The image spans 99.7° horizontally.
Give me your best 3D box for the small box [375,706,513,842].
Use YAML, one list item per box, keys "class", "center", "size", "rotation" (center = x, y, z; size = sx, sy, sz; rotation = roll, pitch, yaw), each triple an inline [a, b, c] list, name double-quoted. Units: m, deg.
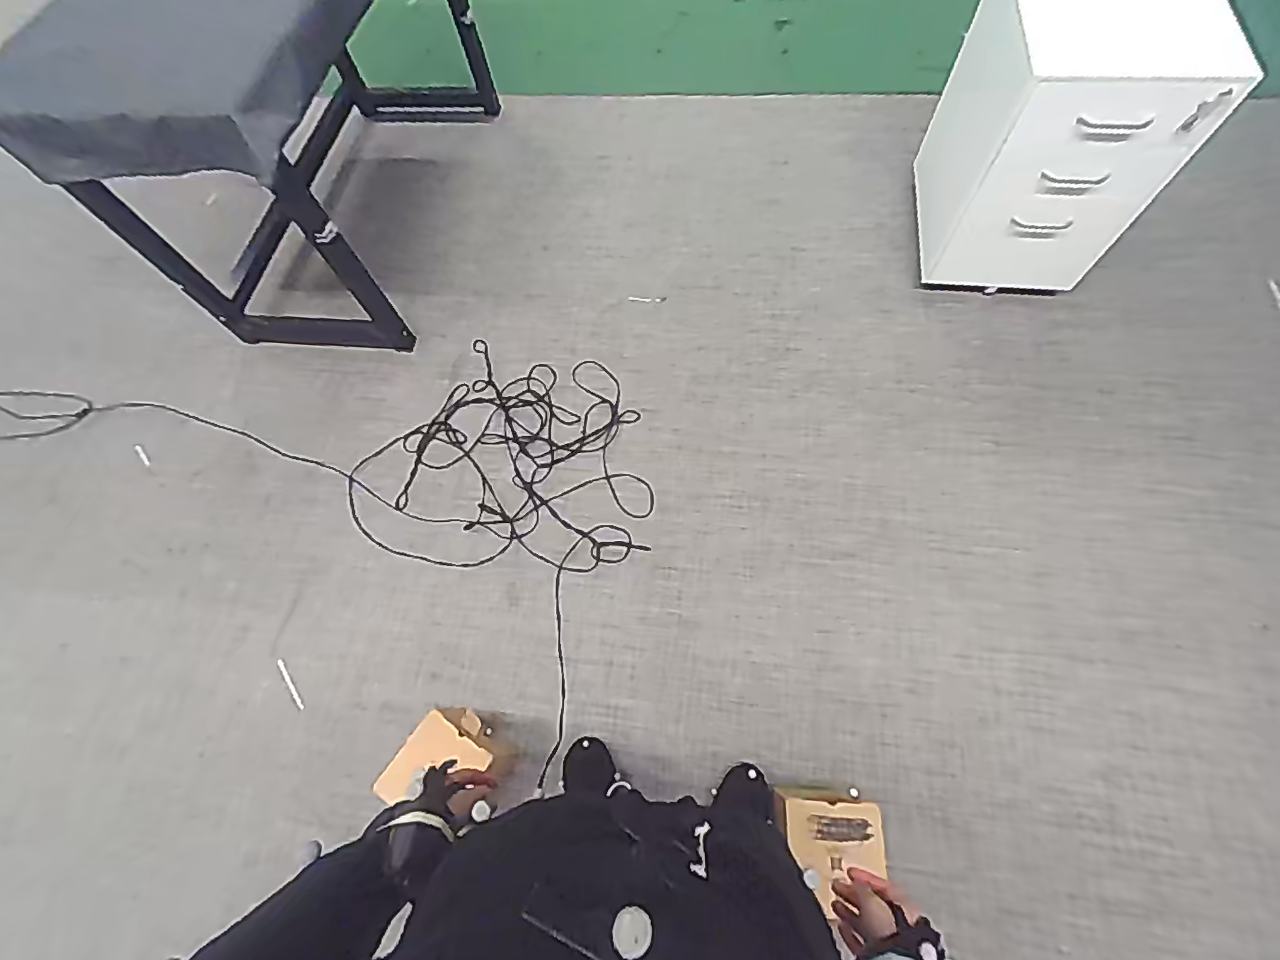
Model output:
- class: "small box"
  center: [-0.387, 0.589, 1.104]
  size: [0.168, 0.176, 0.179]
  rotation: [30, 71, 16]
